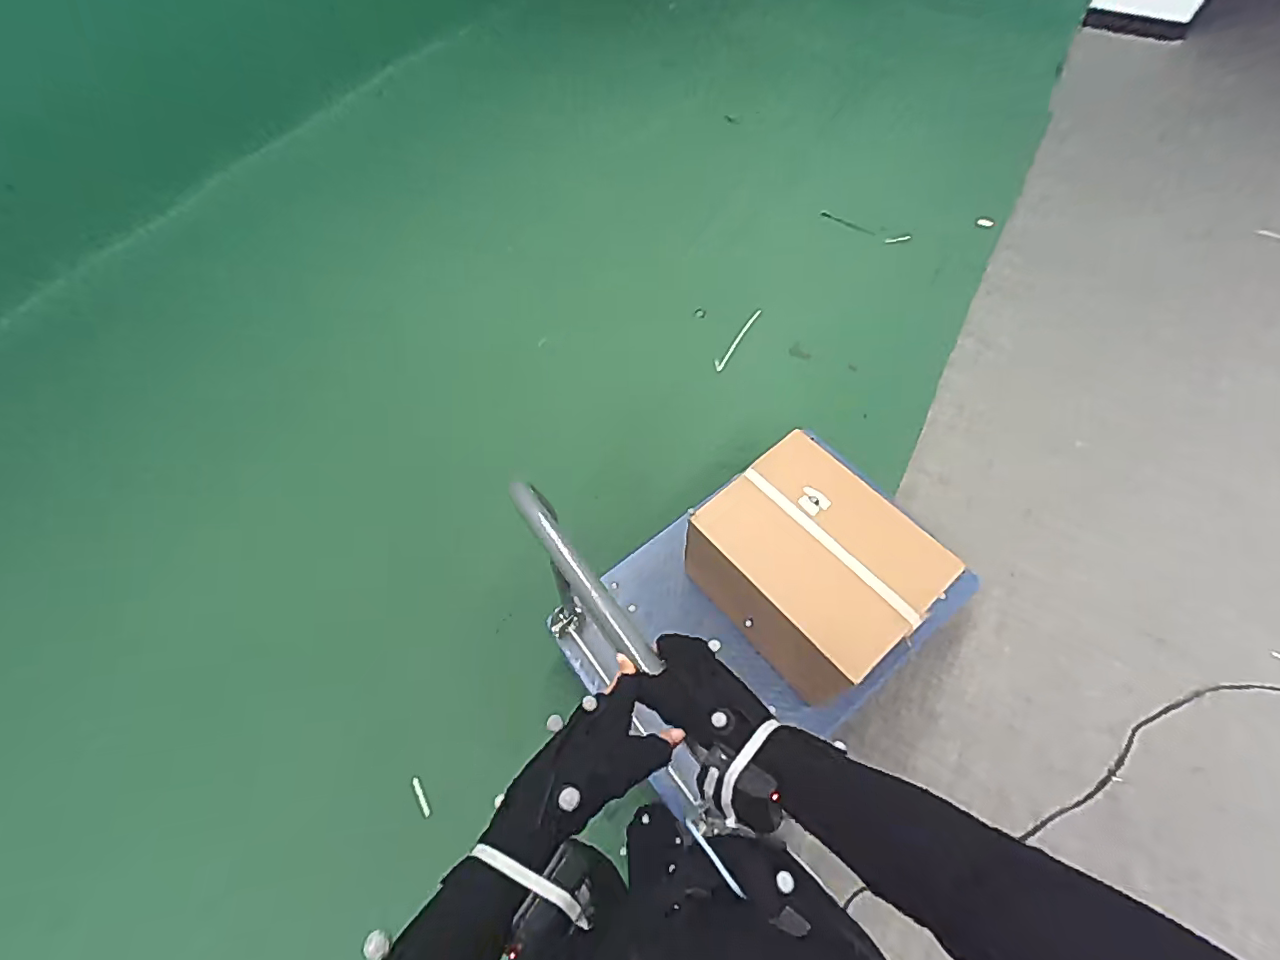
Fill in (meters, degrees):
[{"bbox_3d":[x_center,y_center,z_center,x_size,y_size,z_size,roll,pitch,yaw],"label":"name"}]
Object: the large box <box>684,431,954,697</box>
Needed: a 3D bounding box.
[{"bbox_3d":[0.338,0.182,1.144,0.320,0.320,0.408,-37,65,-18],"label":"large box"}]
